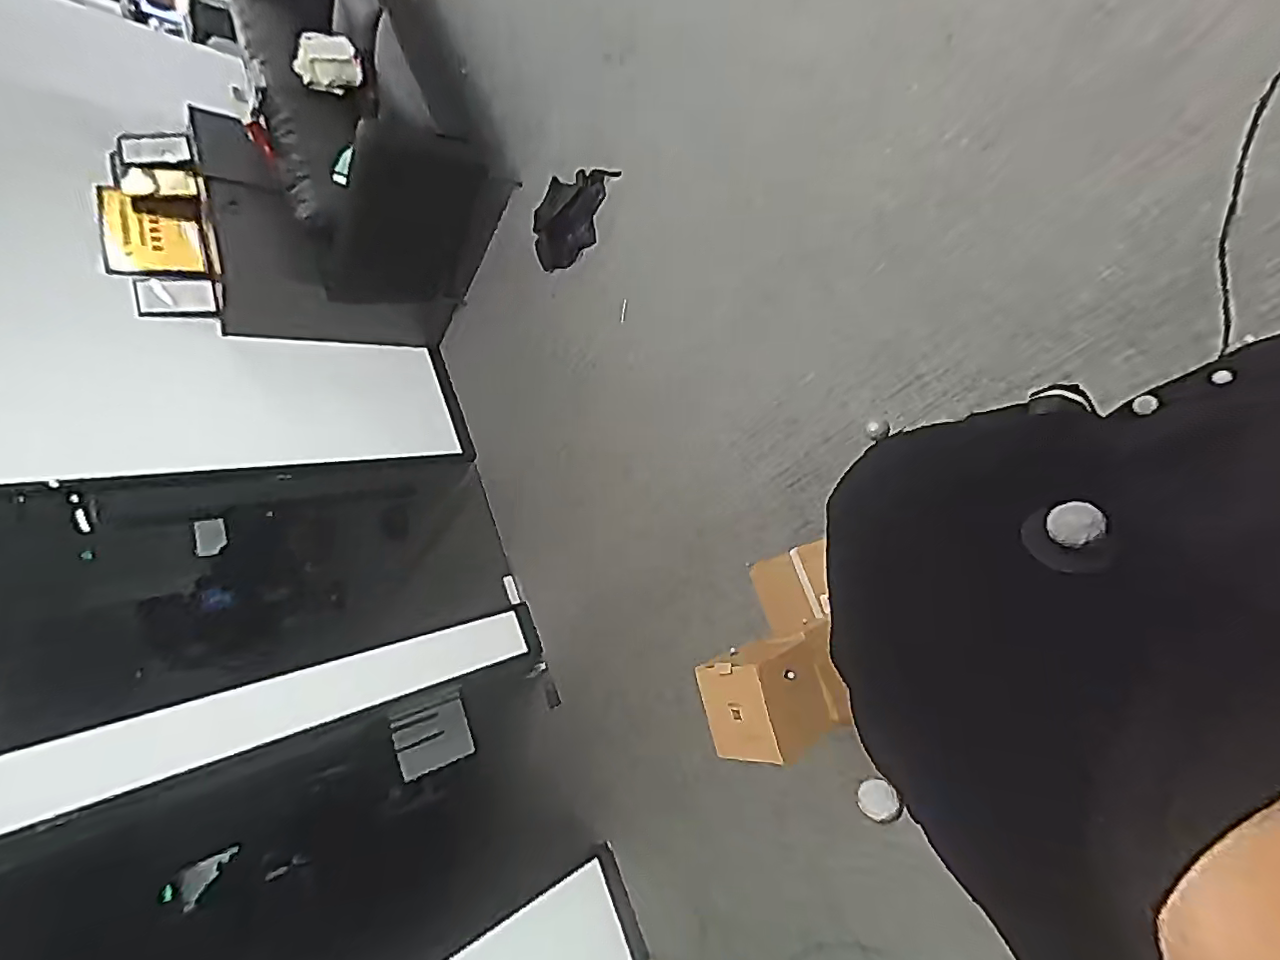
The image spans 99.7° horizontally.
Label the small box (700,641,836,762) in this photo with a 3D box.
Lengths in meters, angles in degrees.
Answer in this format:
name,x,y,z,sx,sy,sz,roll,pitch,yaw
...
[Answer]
name,x,y,z,sx,sy,sz,roll,pitch,yaw
small box,0.250,0.422,1.058,0.168,0.176,0.179,-27,76,49
